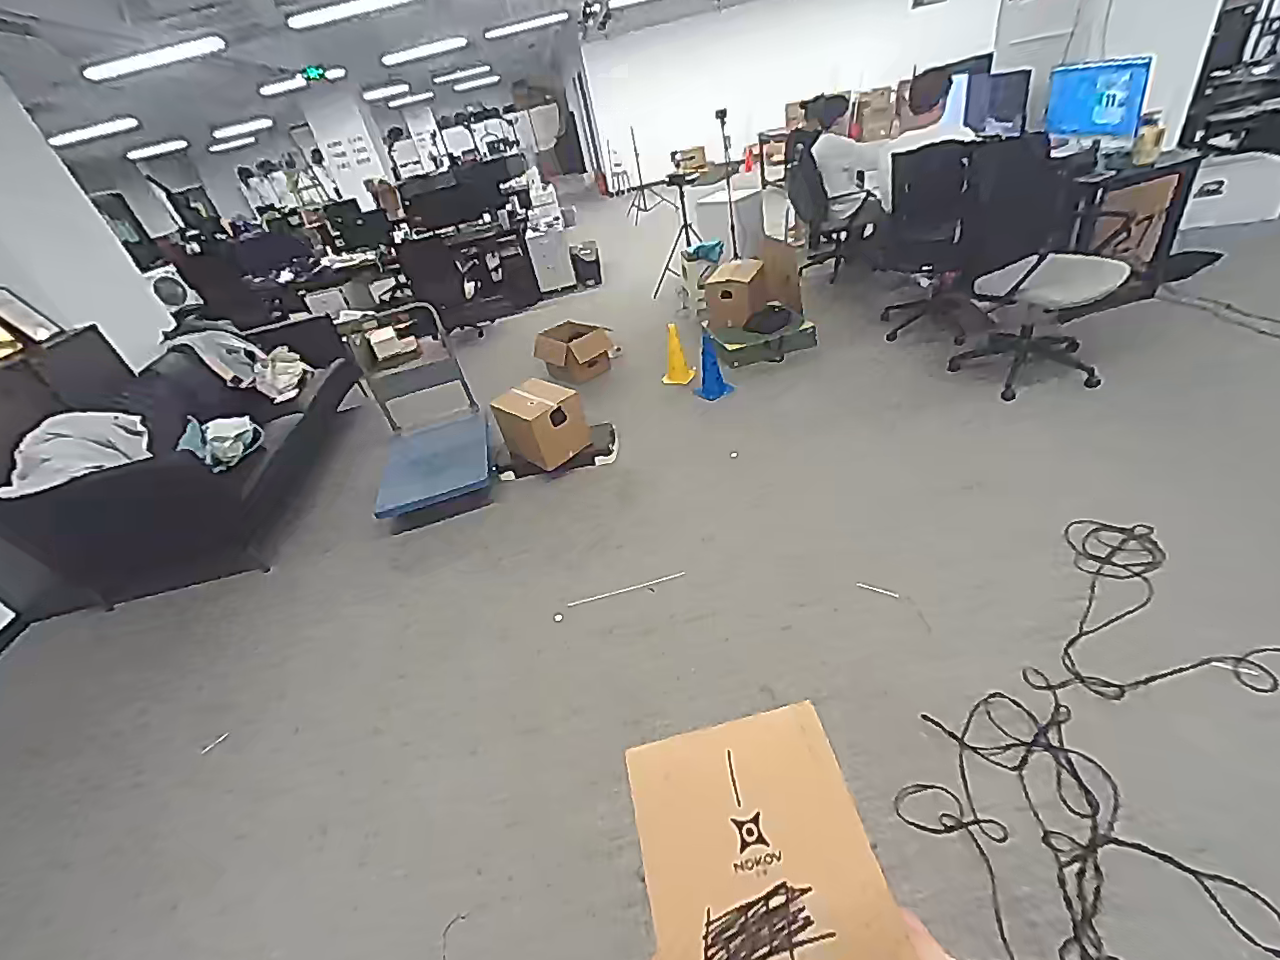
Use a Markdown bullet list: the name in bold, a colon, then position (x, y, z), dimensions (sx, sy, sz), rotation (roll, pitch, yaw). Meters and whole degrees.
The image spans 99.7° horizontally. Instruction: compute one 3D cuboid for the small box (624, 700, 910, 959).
- **small box**: position (0.094, 0.316, 0.457), dimensions (0.168, 0.176, 0.179), rotation (-14, 49, 0)
